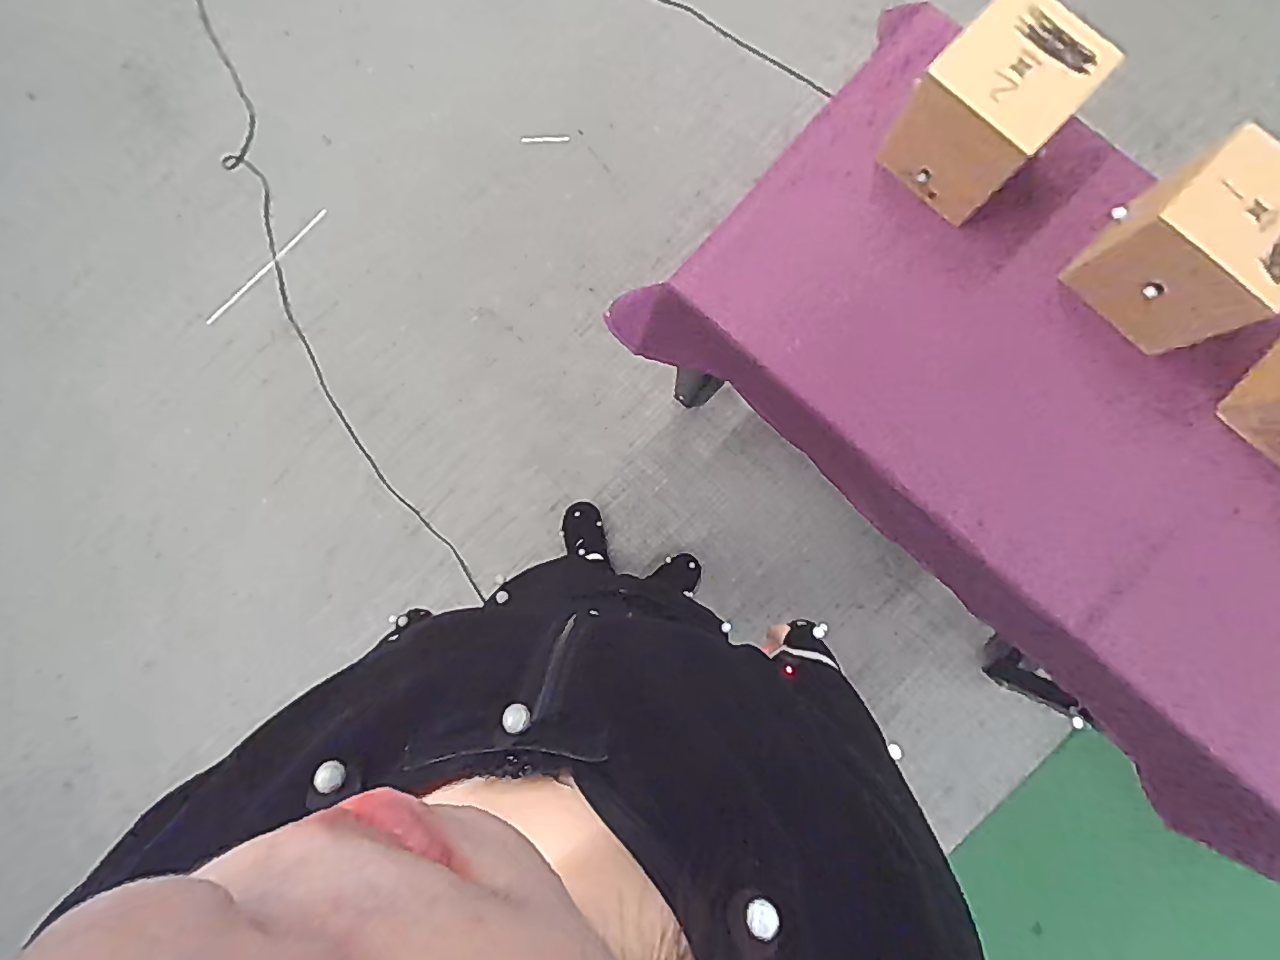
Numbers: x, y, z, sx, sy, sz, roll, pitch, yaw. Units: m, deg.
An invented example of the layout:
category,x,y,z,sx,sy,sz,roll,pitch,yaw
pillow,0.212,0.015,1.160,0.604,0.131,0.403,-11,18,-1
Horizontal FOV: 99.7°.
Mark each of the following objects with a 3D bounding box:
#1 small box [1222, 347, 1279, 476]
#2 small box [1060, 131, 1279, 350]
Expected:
category,x,y,z,sx,sy,sz,roll,pitch,yaw
small box,0.934,-0.103,0.690,0.168,0.176,0.179,43,89,5
small box,0.727,-0.294,0.713,0.168,0.176,0.179,-45,84,-2
